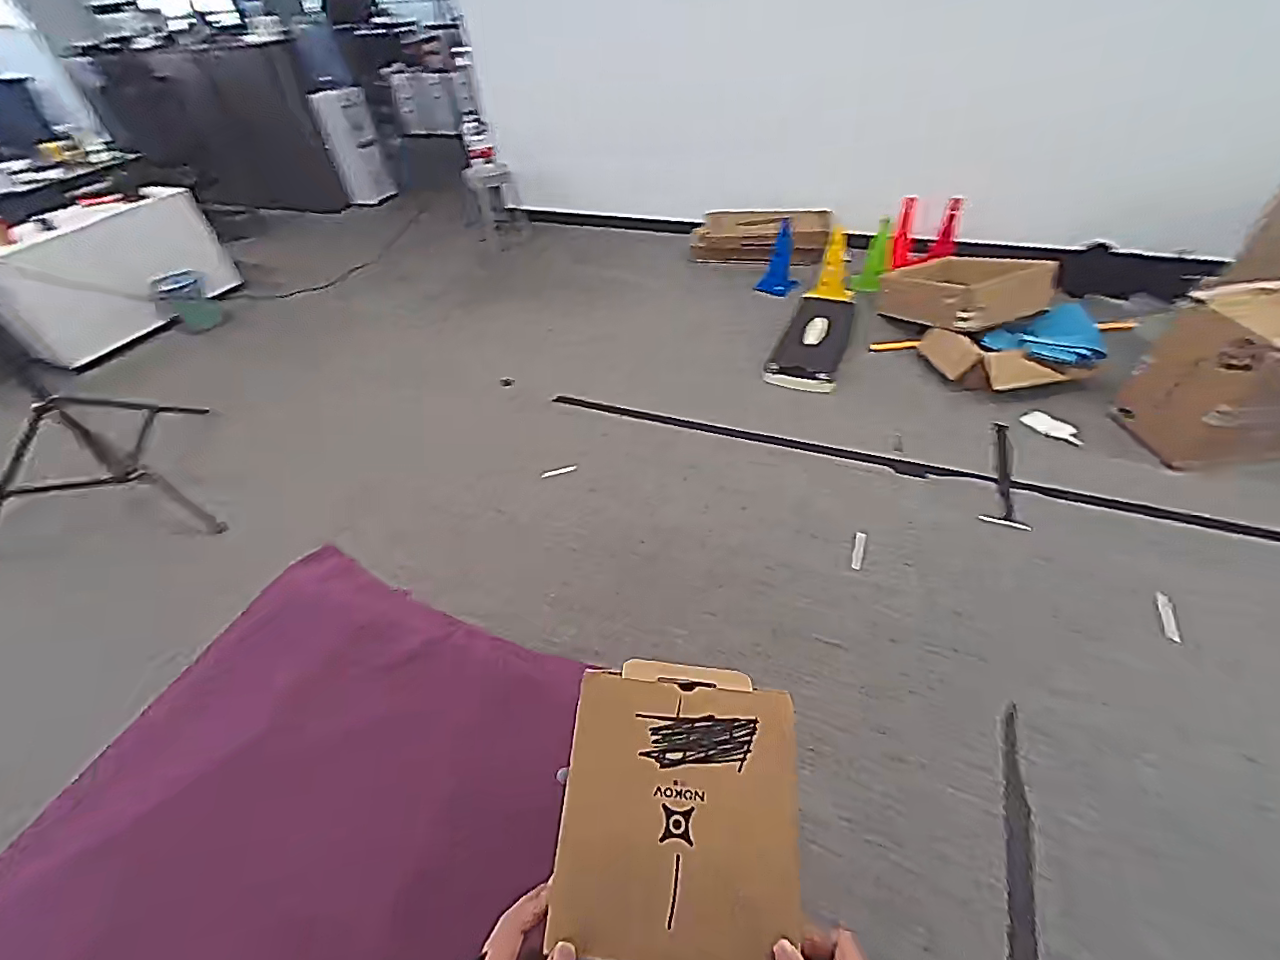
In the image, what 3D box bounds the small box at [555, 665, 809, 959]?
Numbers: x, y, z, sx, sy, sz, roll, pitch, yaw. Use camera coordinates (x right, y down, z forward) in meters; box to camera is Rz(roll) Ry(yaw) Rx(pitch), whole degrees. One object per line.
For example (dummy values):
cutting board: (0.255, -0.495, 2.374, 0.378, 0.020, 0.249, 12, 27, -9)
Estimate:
small box: (0.035, 0.270, 0.452, 0.168, 0.176, 0.179, 6, 60, 4)
